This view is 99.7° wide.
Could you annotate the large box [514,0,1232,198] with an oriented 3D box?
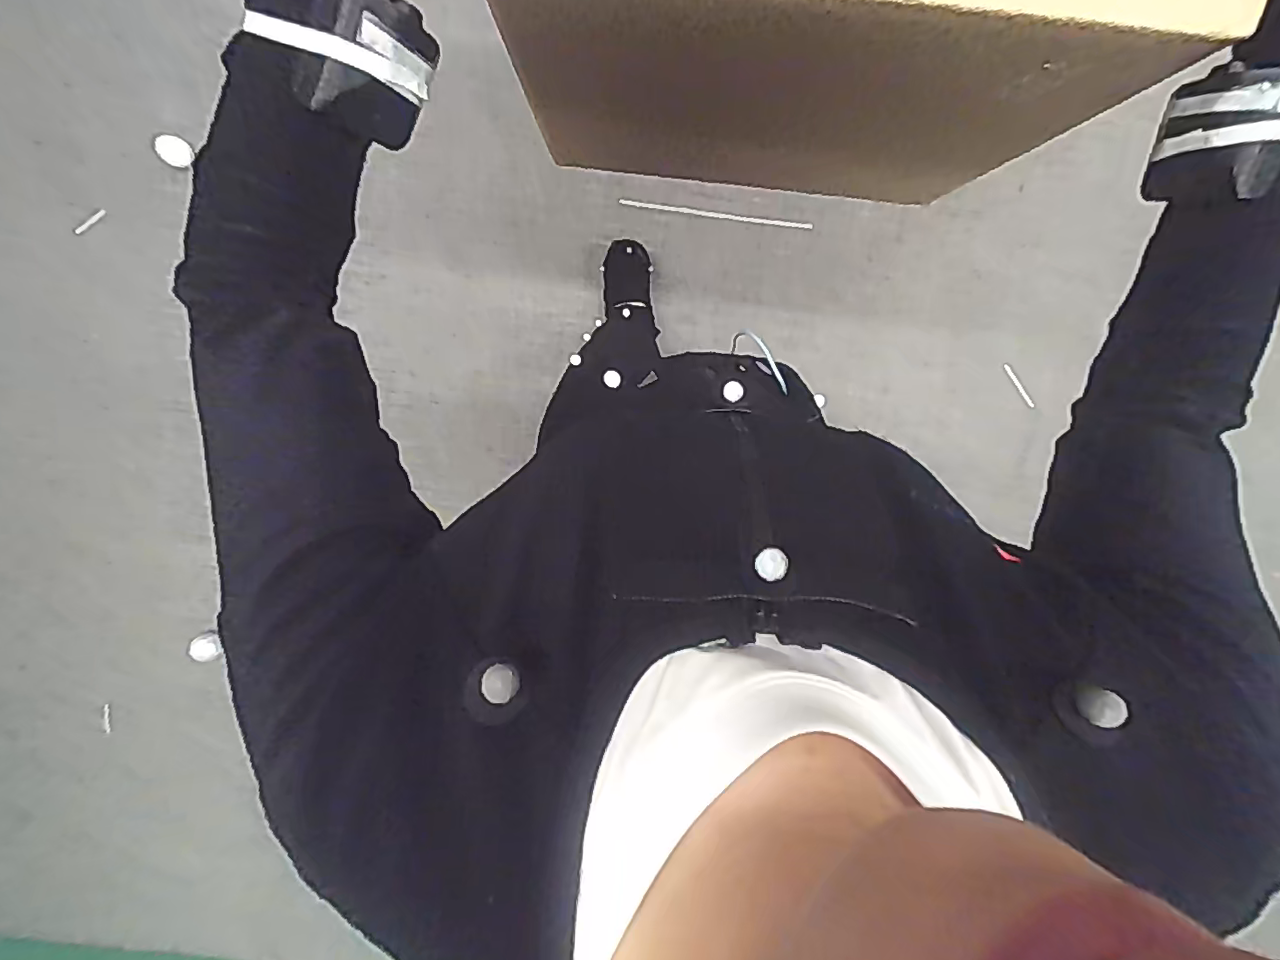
[{"bbox_3d":[0.127,-0.433,0.402,0.408,0.320,0.320,4,103,-3],"label":"large box"}]
